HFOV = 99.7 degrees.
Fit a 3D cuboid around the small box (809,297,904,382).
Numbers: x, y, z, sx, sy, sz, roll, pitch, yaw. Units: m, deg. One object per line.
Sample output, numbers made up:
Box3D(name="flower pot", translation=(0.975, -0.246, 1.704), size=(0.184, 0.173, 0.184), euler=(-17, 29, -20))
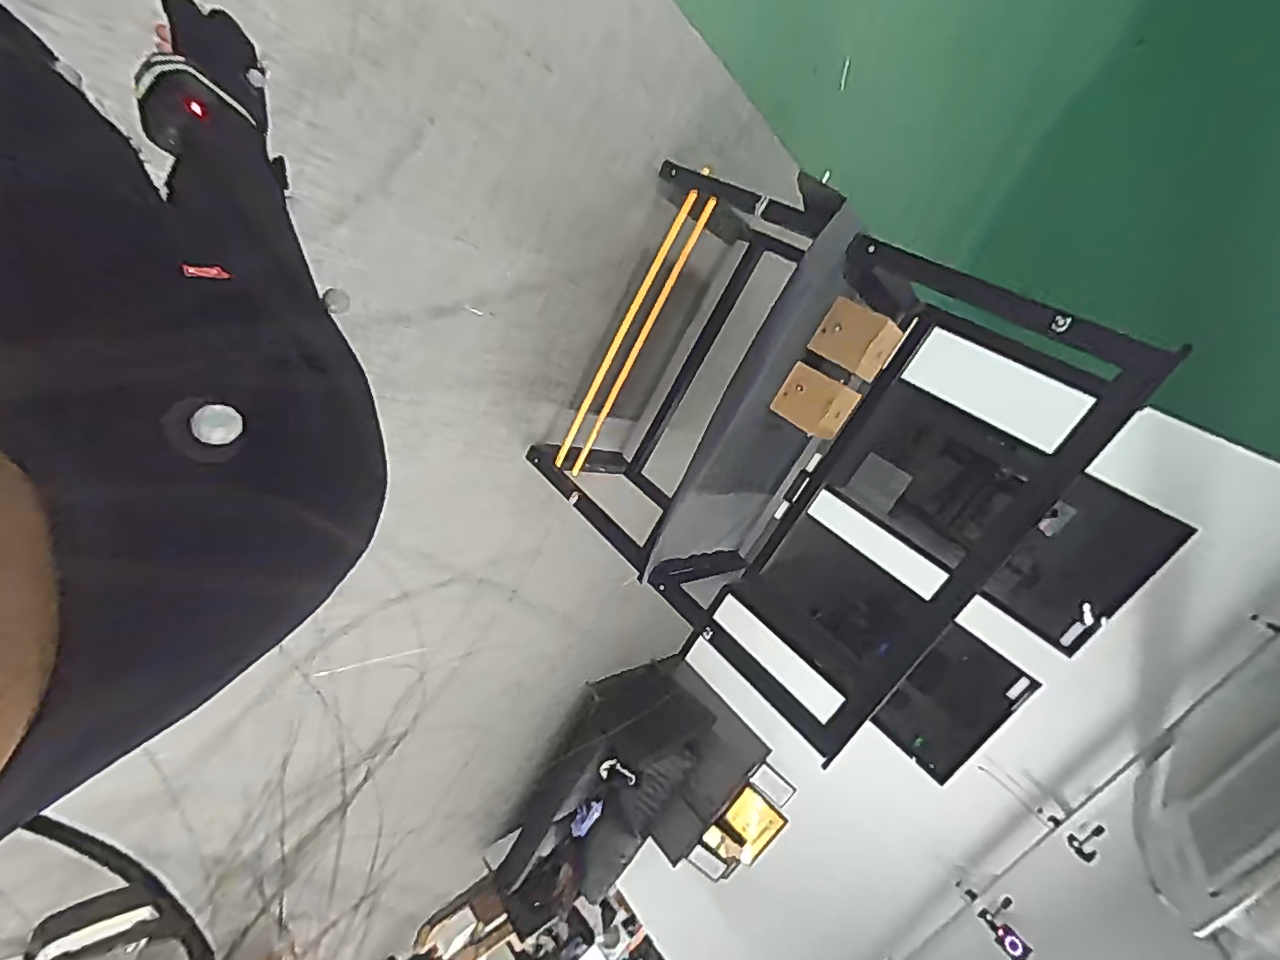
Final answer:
Box3D(name="small box", translation=(0.630, -0.410, 1.579), size=(0.179, 0.176, 0.168), euler=(3, 122, -53))
